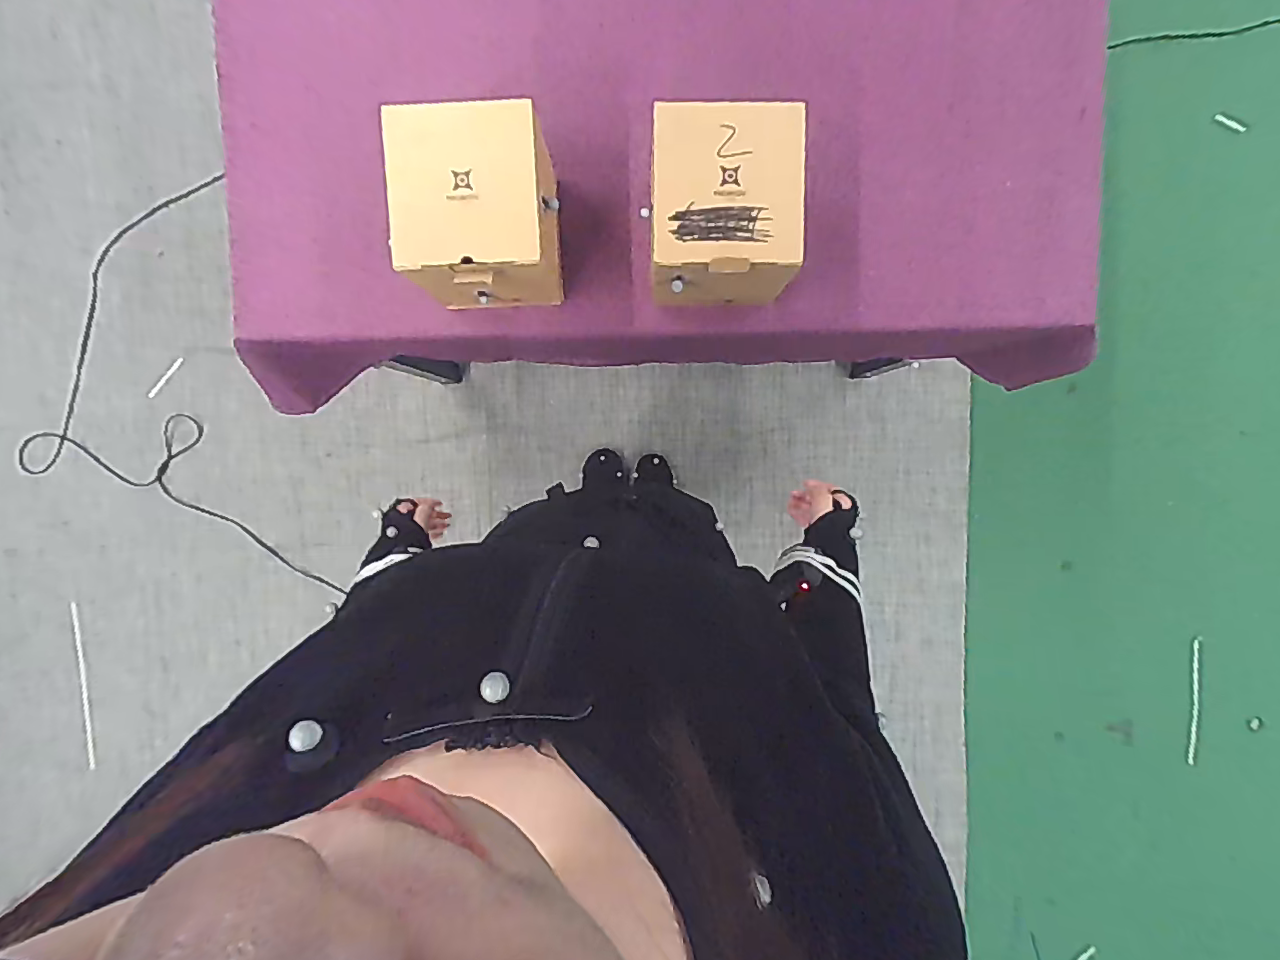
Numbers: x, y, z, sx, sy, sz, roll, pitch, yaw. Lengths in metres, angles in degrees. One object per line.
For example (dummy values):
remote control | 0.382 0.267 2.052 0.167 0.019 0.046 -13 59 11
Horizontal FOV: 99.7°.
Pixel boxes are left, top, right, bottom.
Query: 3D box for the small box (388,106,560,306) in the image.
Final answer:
small box | -0.197 -0.332 0.685 0.168 0.176 0.179 -3 94 0
